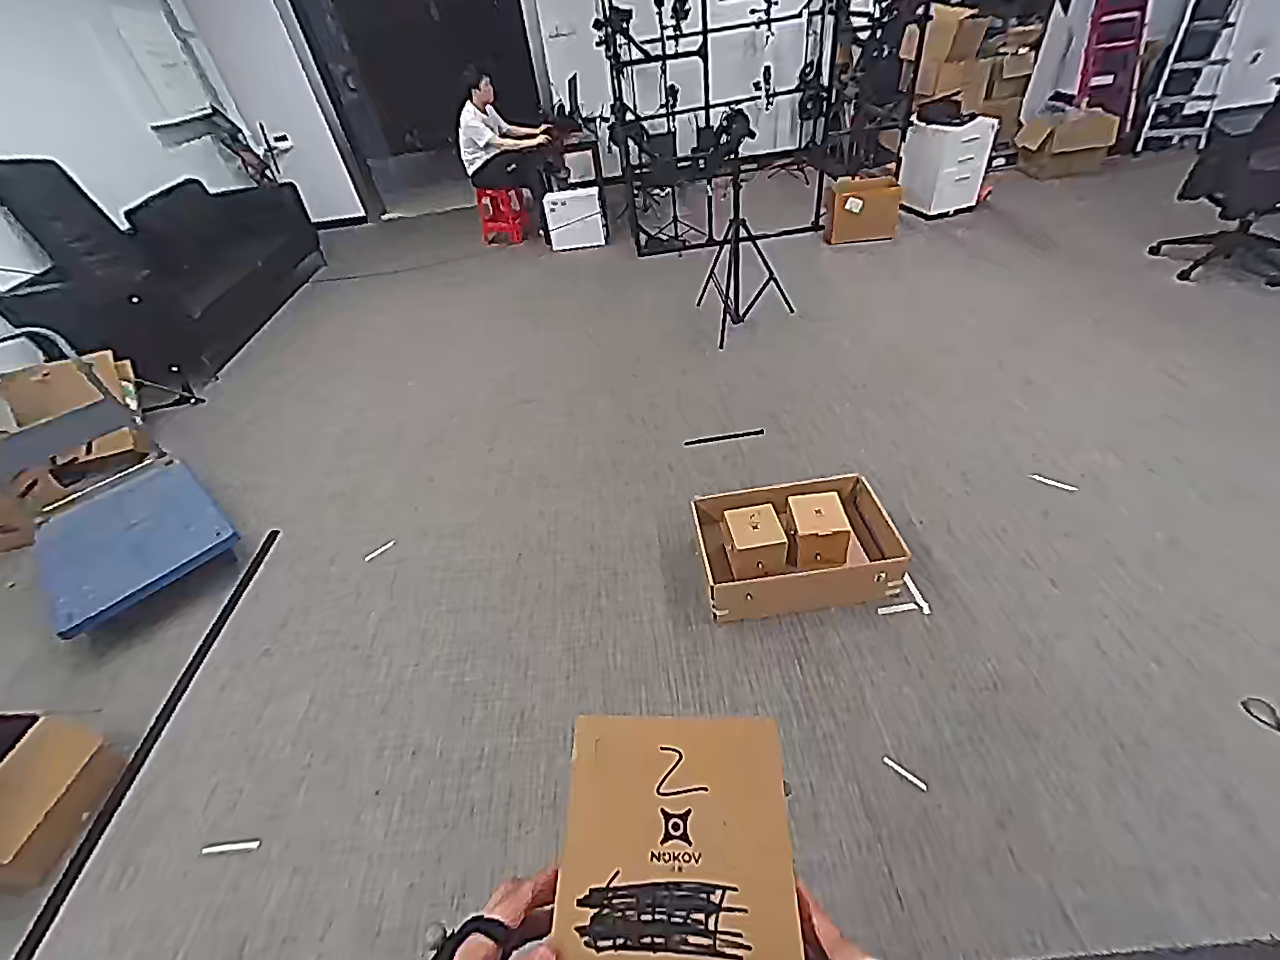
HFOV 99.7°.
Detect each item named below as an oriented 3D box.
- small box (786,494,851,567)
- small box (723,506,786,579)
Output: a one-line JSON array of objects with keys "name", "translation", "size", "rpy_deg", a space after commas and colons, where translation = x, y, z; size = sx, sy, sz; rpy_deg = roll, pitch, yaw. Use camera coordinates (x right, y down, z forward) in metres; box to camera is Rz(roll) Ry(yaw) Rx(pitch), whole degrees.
[{"name": "small box", "translation": [0.591, 0.171, 1.817], "size": [0.168, 0.176, 0.179], "rpy_deg": [-6, 42, 5]}, {"name": "small box", "translation": [0.377, 0.214, 1.801], "size": [0.168, 0.176, 0.179], "rpy_deg": [-9, 41, -2]}]
